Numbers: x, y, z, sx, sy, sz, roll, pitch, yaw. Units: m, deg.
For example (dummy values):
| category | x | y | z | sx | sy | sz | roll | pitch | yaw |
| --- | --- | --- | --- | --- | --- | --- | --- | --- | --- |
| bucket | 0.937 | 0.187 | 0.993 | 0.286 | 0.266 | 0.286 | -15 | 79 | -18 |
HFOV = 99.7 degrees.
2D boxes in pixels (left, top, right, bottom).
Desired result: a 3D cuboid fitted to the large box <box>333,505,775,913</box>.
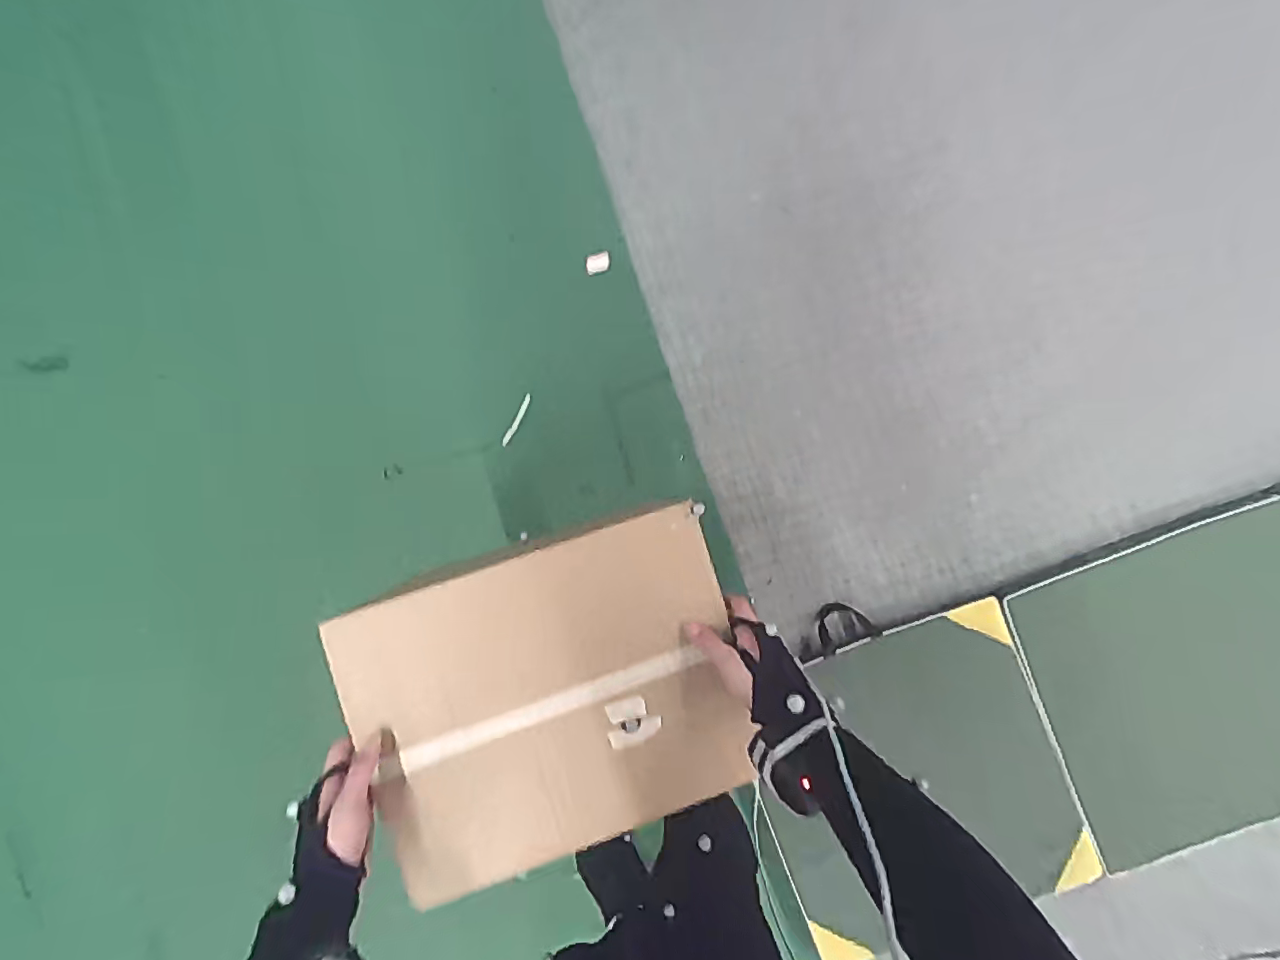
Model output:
| category | x | y | z | sx | sy | sz | roll | pitch | yaw |
| --- | --- | --- | --- | --- | --- | --- | --- | --- | --- |
| large box | -0.101 | 0.242 | 0.720 | 0.408 | 0.320 | 0.320 | -18 | 90 | -7 |
